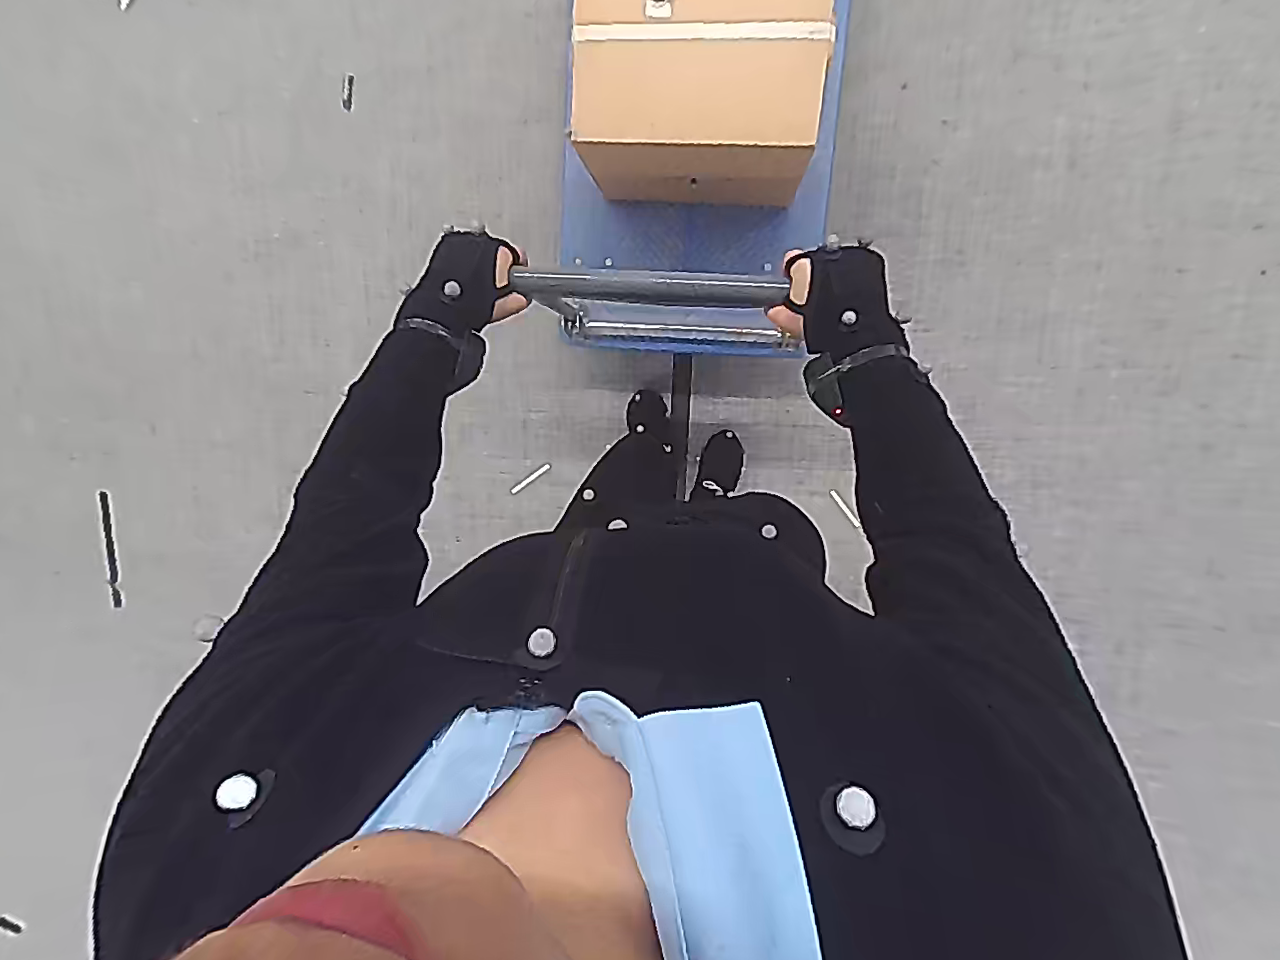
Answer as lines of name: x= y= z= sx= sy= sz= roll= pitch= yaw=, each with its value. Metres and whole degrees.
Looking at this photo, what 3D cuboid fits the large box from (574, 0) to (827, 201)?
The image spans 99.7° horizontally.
large box: x=0.113 y=-0.732 z=1.012 sx=0.408 sy=0.320 sz=0.320 roll=5 pitch=100 yaw=8
